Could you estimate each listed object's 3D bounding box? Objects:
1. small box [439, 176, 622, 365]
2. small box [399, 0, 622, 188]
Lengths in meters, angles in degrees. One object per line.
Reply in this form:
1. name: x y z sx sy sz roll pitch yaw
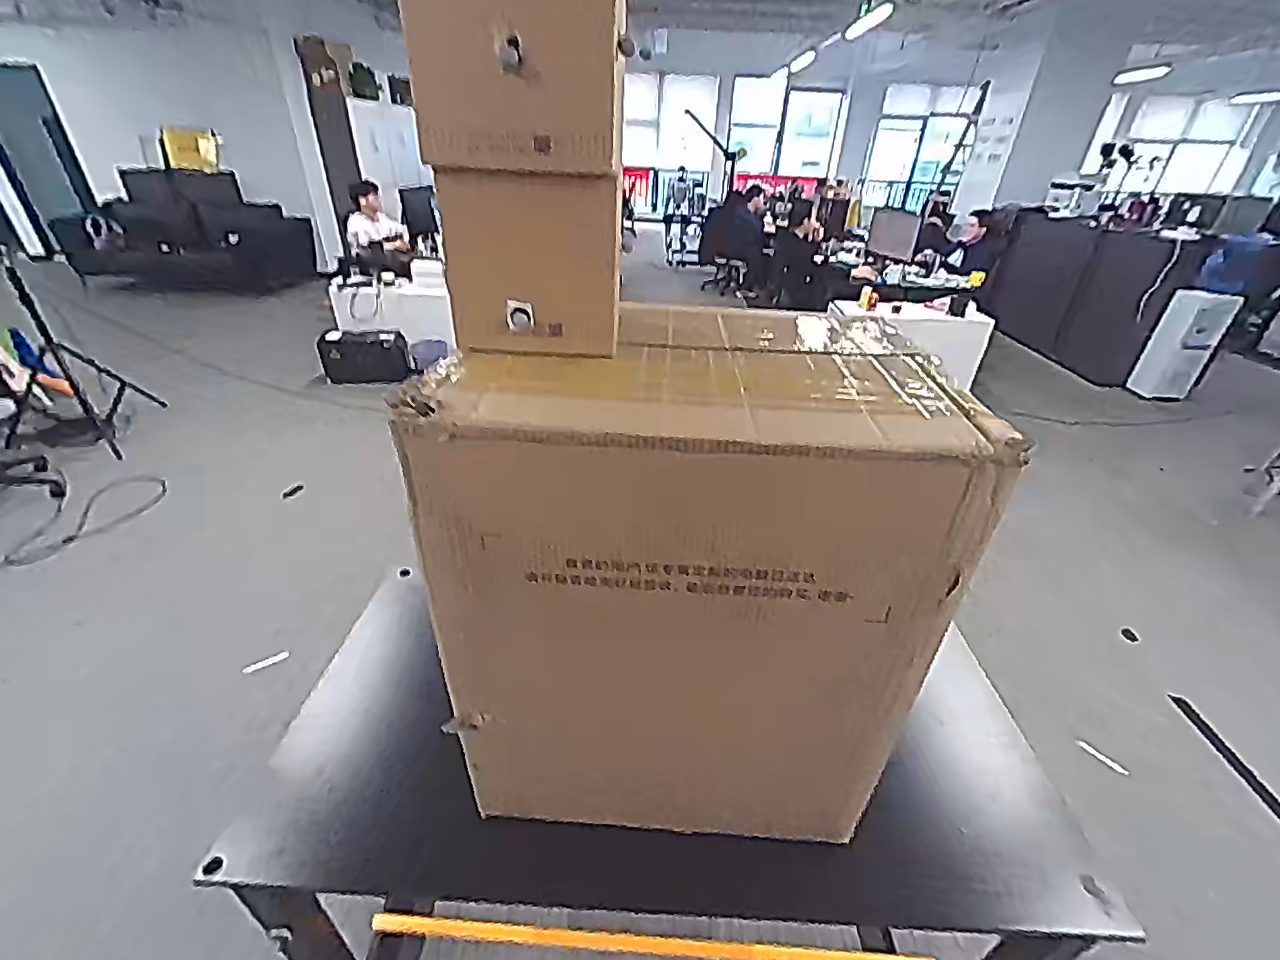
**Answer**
1. small box: -0.104 -0.236 0.595 0.168 0.176 0.179 0 31 -2
2. small box: -0.102 -0.369 0.498 0.168 0.176 0.179 2 31 -1
